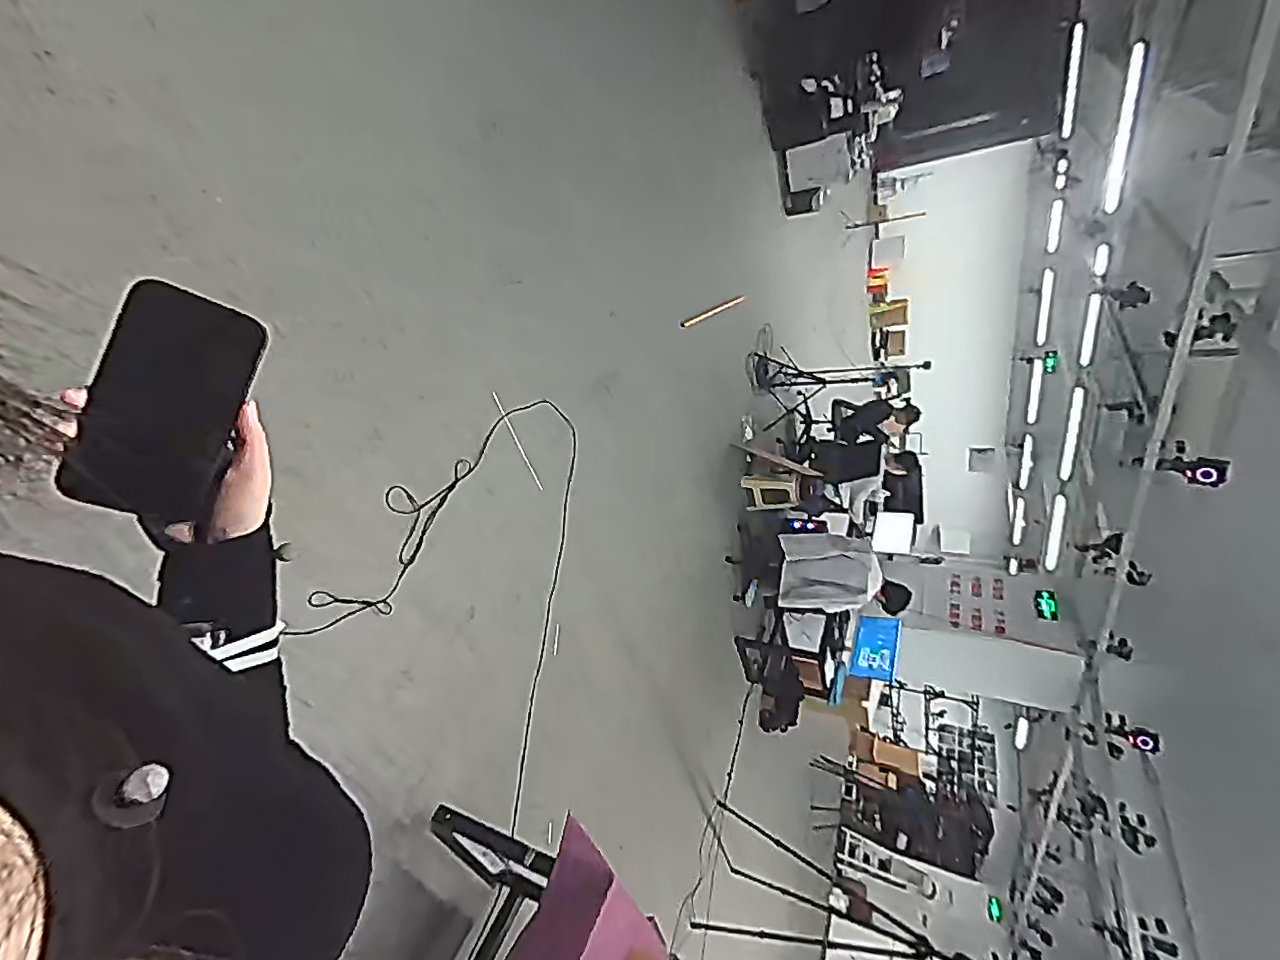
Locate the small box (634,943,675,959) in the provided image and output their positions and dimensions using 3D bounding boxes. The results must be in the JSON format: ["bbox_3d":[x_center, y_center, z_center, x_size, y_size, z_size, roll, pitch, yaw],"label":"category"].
[{"bbox_3d":[0.063,1.547,1.633,0.168,0.176,0.179,-59,139,-39],"label":"small box"}]
